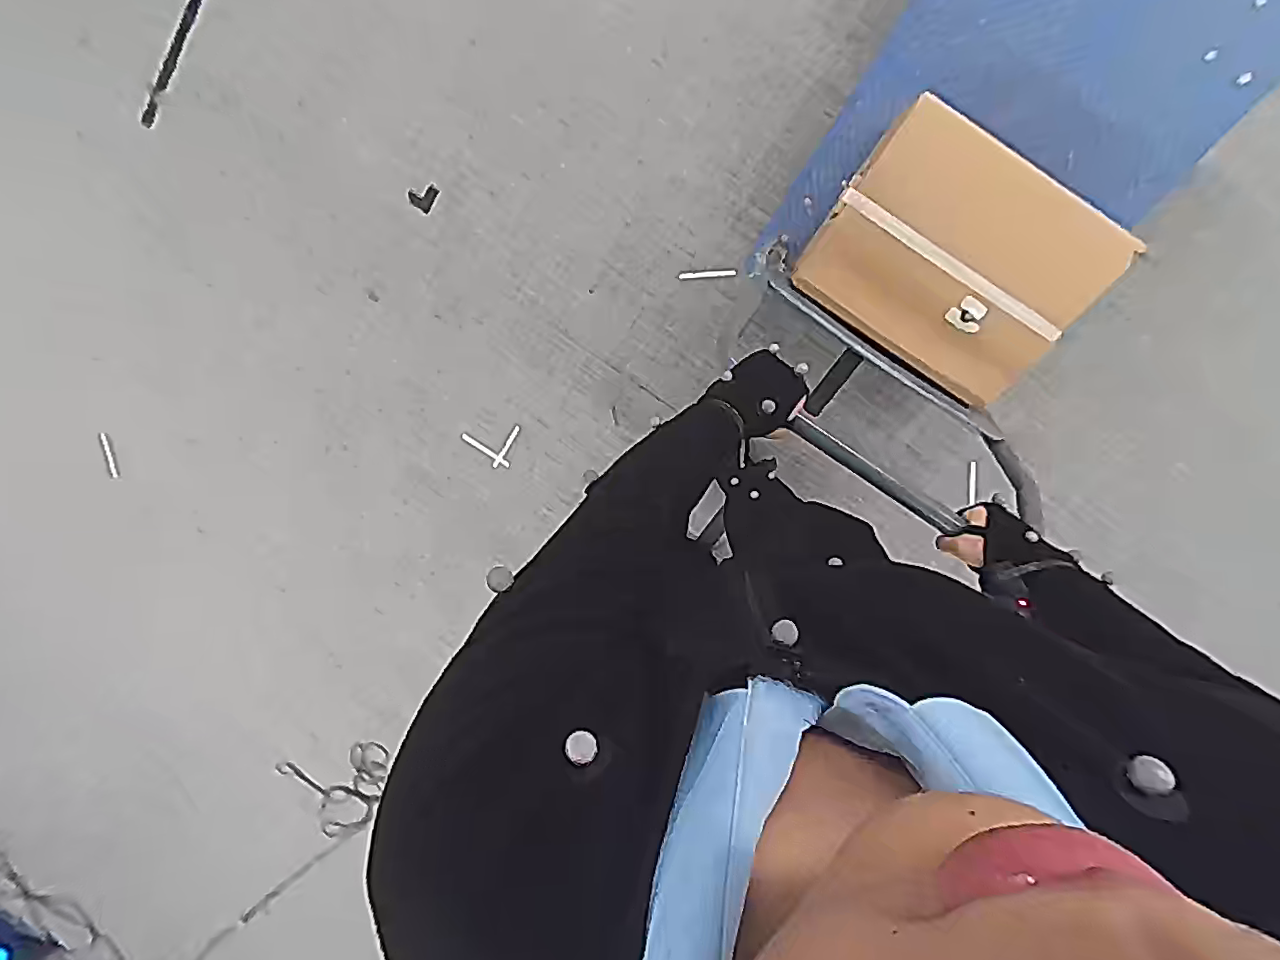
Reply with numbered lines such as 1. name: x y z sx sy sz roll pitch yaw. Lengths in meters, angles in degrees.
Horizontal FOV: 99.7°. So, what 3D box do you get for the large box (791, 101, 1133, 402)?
1. large box: 0.539 -0.414 1.009 0.408 0.320 0.320 33 120 -2
